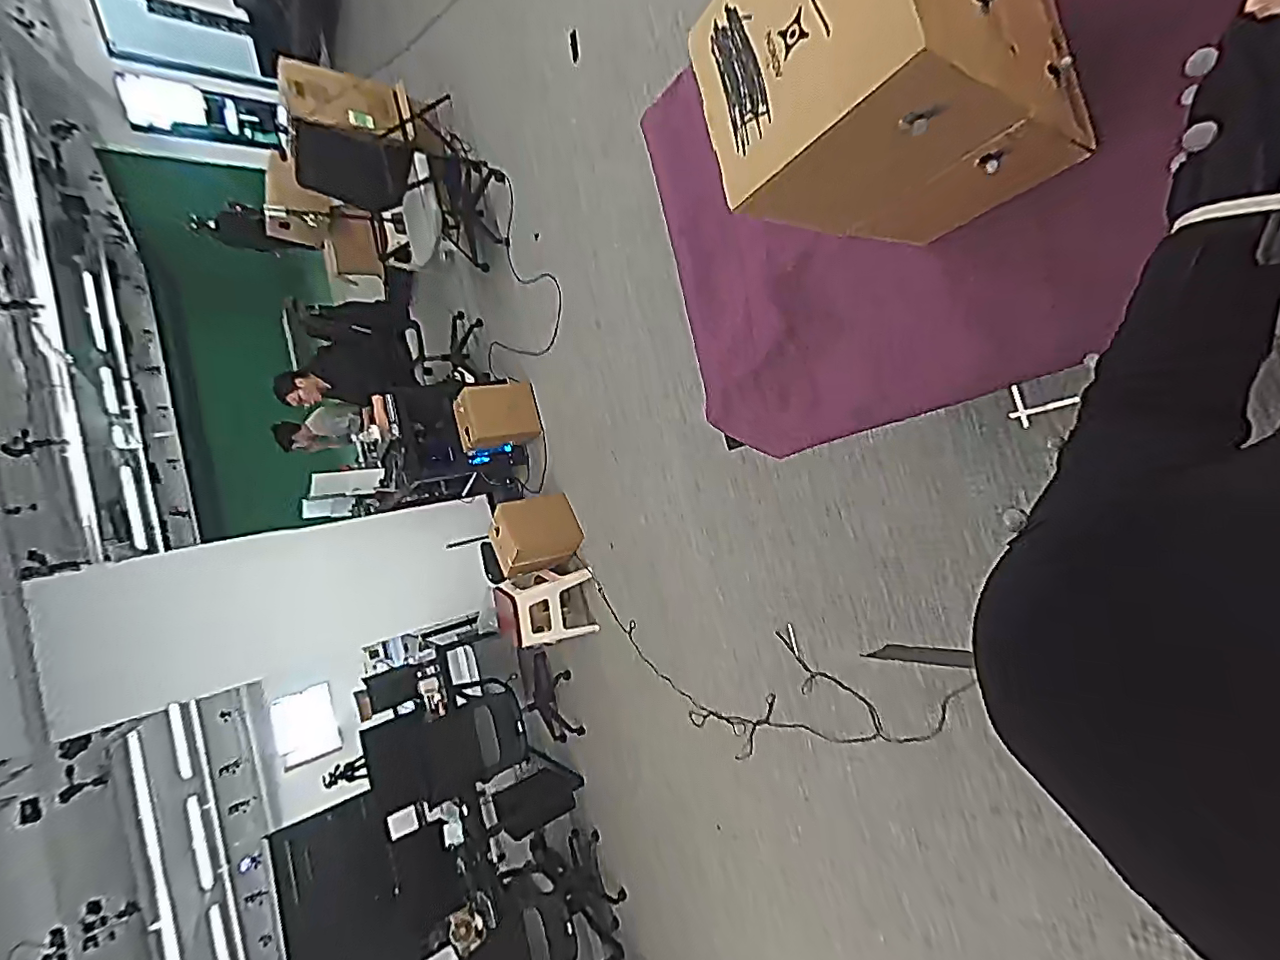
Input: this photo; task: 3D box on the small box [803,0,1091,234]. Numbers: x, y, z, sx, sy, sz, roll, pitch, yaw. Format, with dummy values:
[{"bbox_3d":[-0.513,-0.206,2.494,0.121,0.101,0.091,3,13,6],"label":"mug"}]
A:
[{"bbox_3d":[0.301,-0.370,0.542,0.179,0.176,0.168,-19,85,55],"label":"small box"}]
